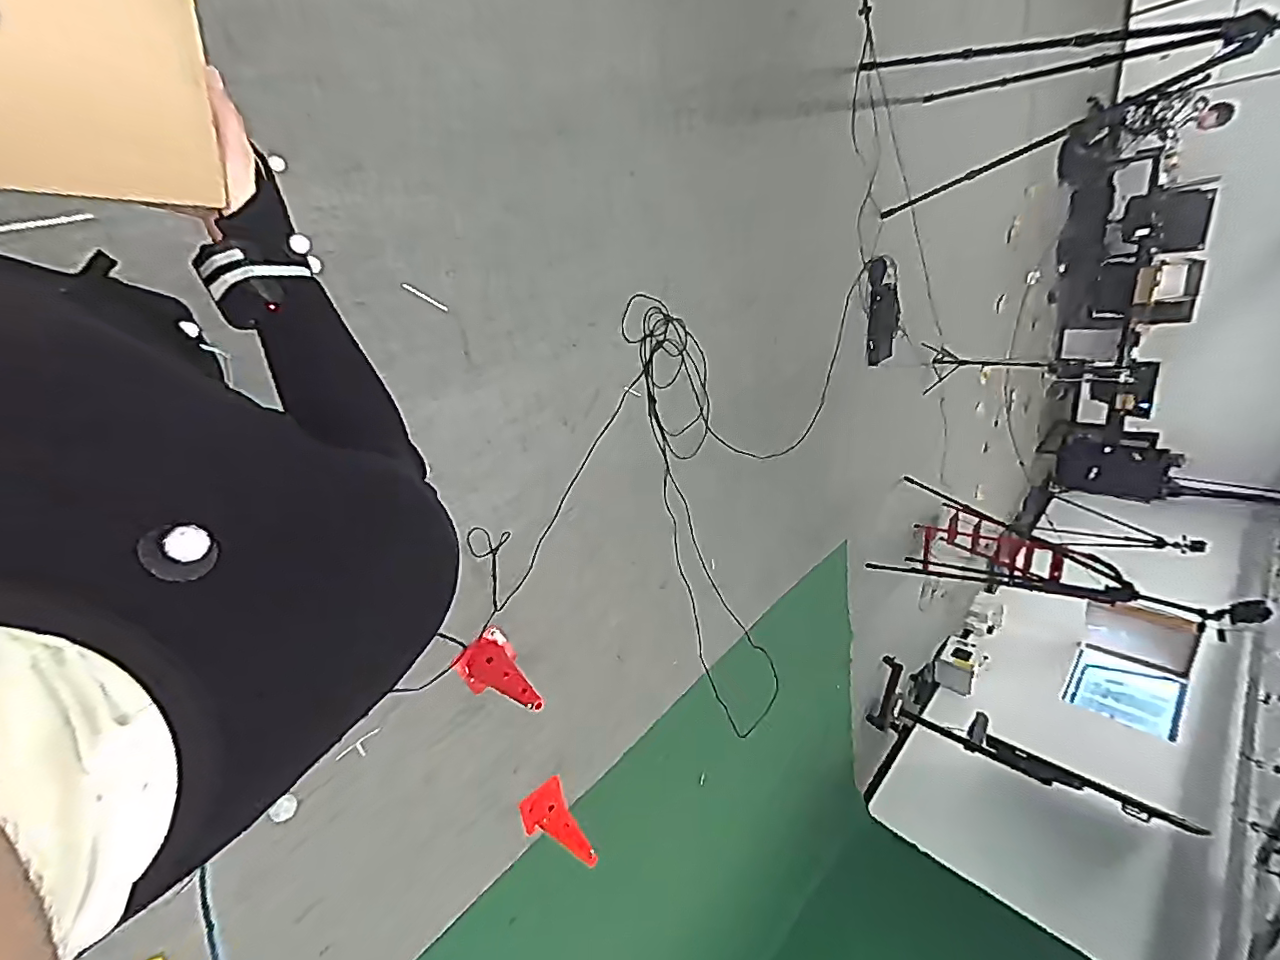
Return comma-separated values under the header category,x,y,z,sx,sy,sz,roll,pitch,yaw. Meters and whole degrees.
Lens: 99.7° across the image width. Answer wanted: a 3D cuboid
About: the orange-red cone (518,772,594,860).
category,x,y,z,sx,sy,sz,roll,pitch,yaw
orange-red cone,-0.314,1.412,2.206,0.199,0.360,0.198,-24,118,-40
